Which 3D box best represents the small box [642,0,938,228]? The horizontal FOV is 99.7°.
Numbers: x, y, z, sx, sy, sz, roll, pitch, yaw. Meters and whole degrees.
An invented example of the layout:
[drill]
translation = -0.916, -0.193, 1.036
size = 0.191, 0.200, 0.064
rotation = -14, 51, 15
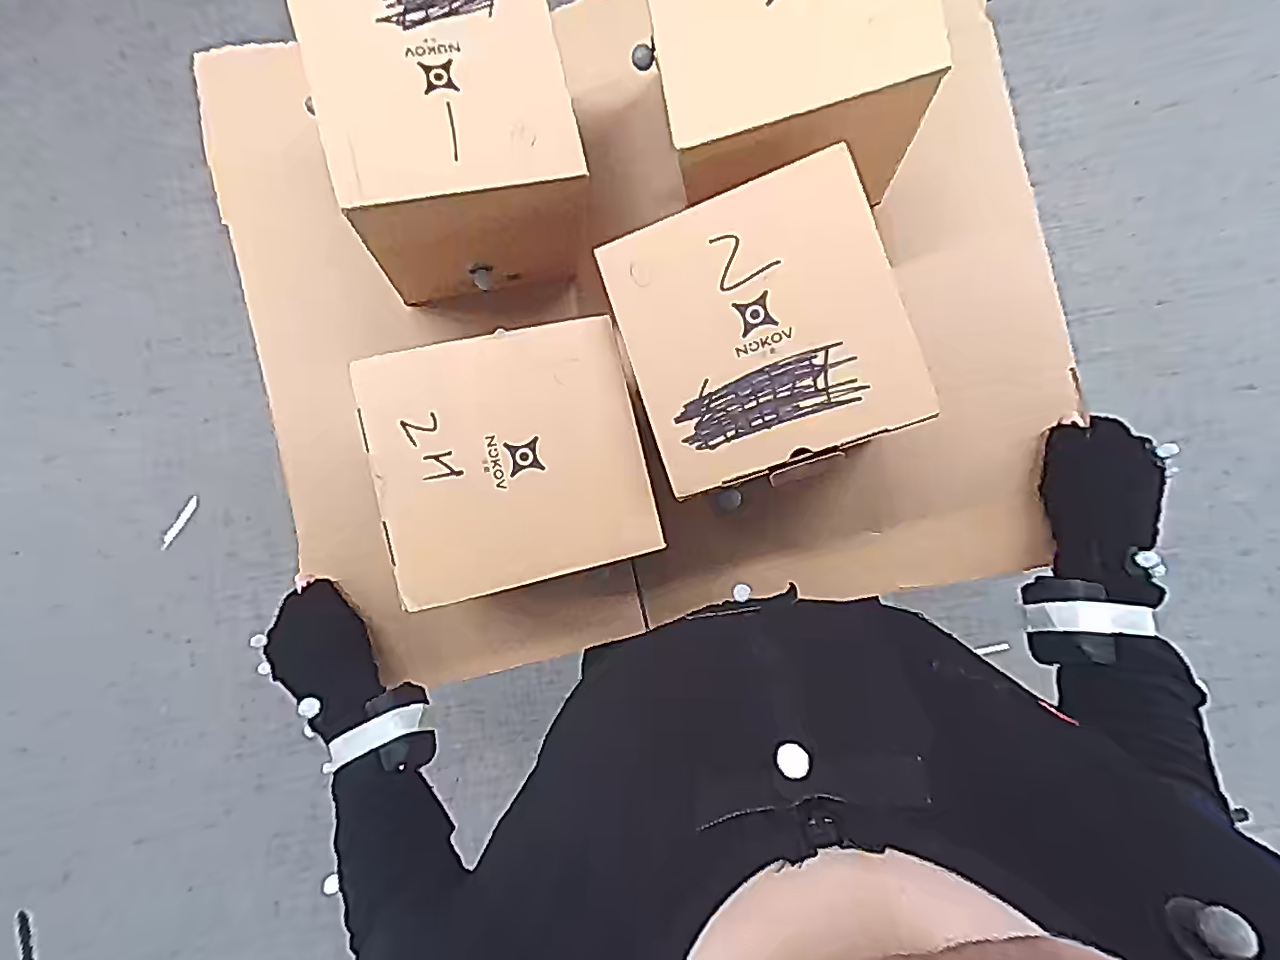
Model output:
[small box]
translation = 0.098, -0.317, 0.409
size = 0.168, 0.176, 0.179
rotation = -11, 88, 11
